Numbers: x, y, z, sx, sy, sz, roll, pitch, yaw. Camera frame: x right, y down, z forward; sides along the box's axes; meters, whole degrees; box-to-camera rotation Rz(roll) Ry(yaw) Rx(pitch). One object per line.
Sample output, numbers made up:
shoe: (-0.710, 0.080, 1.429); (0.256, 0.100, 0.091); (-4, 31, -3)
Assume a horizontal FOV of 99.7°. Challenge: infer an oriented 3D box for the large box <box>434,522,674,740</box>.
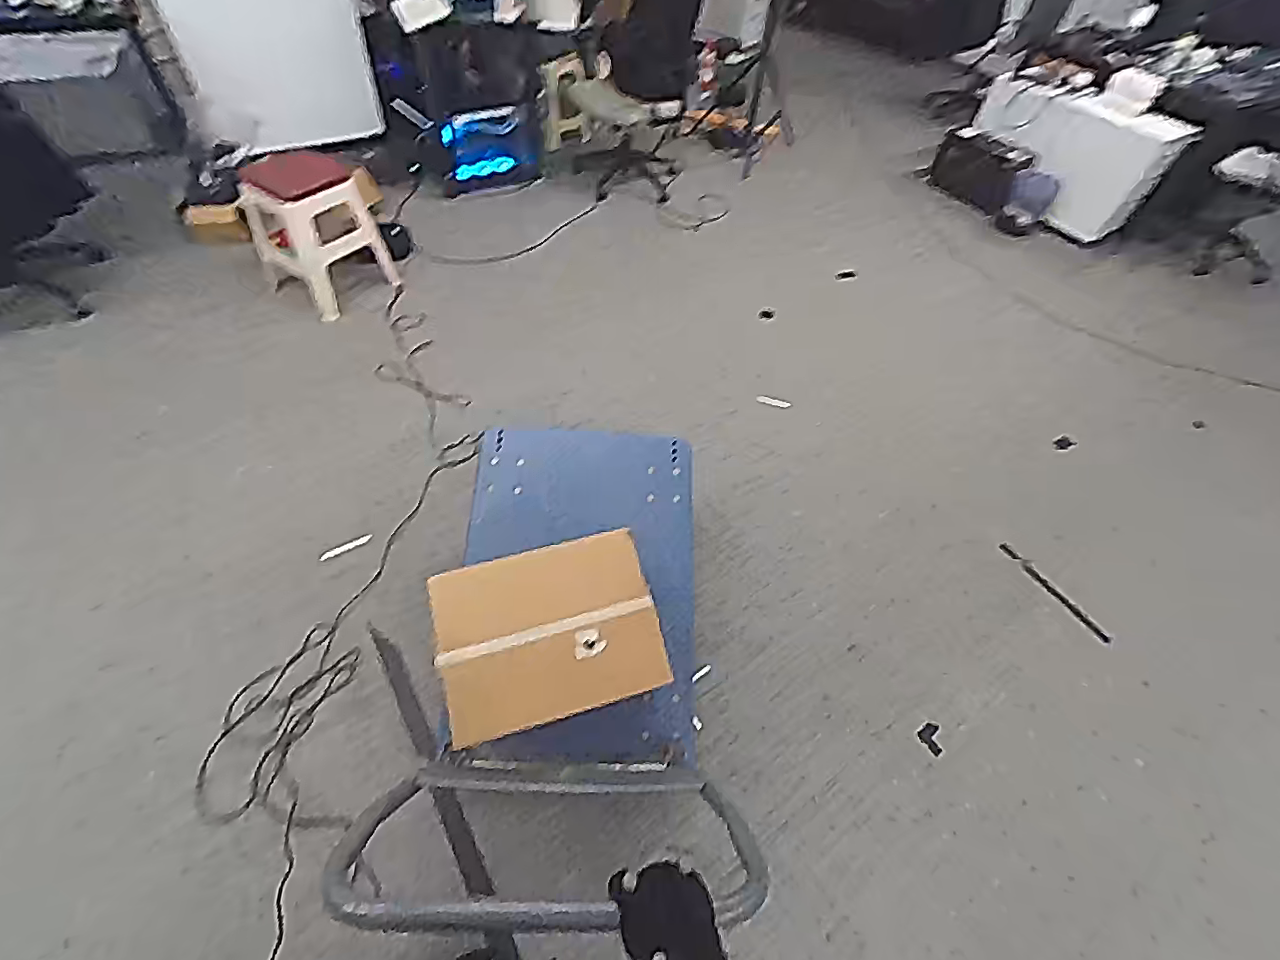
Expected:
large box: (-0.181, 0.327, 1.166); (0.408, 0.320, 0.320); (-14, 72, -12)
